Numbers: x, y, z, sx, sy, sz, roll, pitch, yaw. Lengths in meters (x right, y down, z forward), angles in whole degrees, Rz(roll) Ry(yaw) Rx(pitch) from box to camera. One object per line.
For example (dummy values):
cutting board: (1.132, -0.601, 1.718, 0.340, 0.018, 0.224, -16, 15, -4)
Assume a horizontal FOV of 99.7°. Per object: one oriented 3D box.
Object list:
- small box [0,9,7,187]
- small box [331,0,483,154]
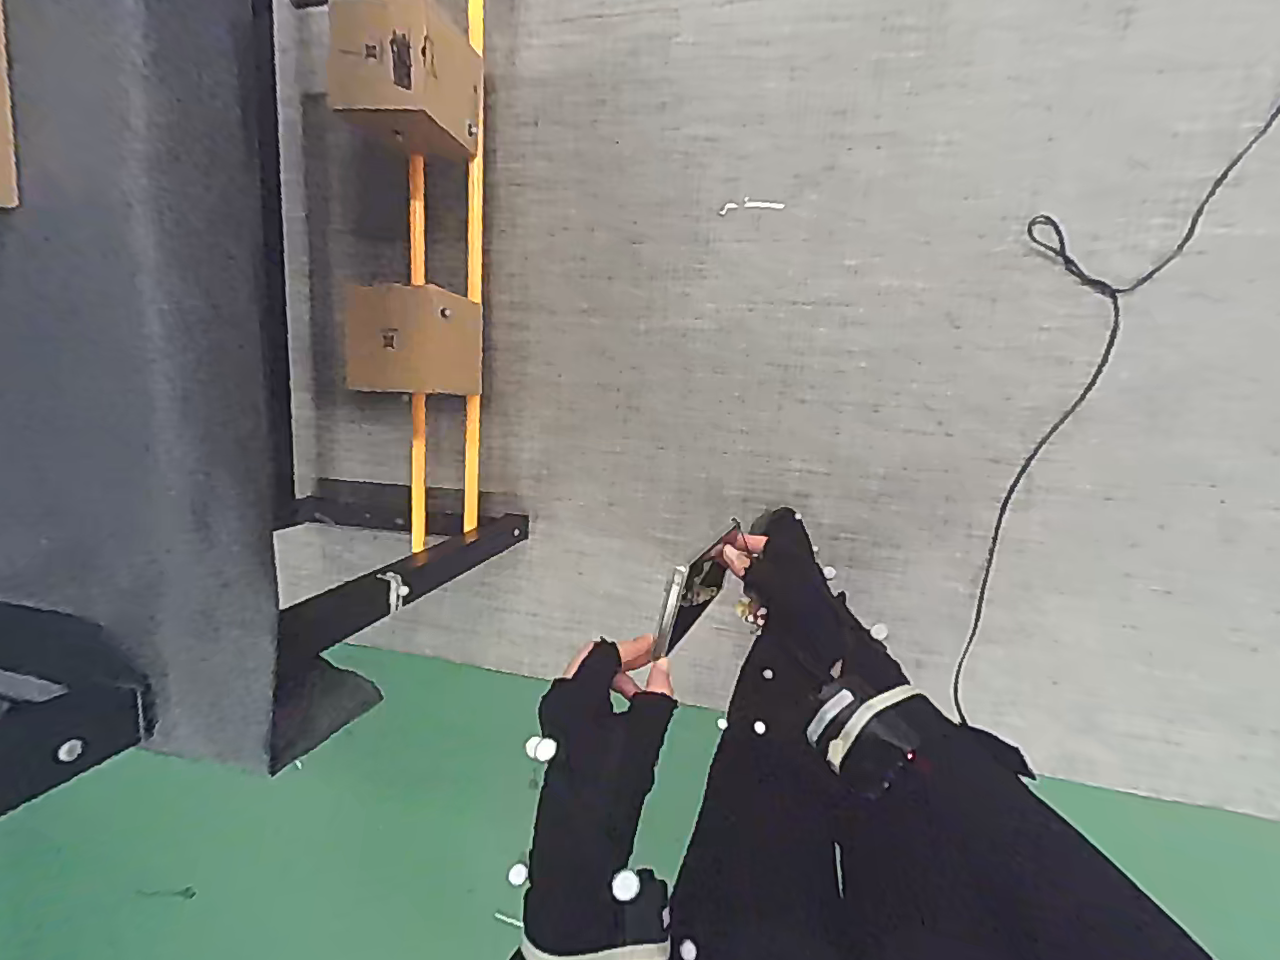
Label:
small box: (-0.590, -0.315, 0.362, 0.168, 0.176, 0.179, 8, 99, 12)
small box: (-0.383, -0.674, 0.910, 0.179, 0.176, 0.168, 8, 99, 12)
